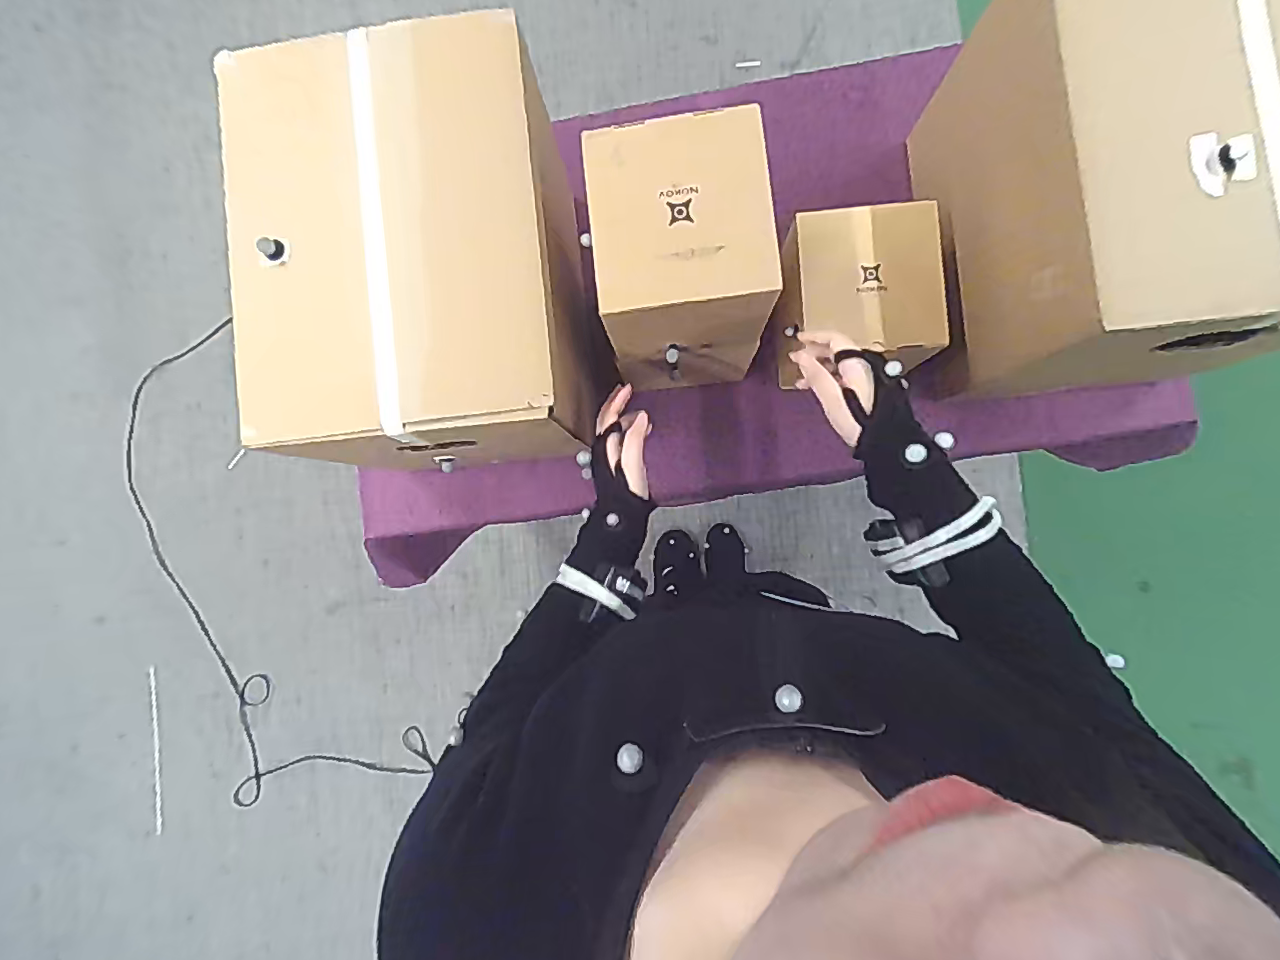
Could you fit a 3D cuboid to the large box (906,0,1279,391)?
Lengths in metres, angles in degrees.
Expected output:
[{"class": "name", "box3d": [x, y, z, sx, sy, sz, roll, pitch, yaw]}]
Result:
[{"class": "large box", "box3d": [0.552, -0.343, 0.636, 0.320, 0.320, 0.408, -5, 87, 3]}]
